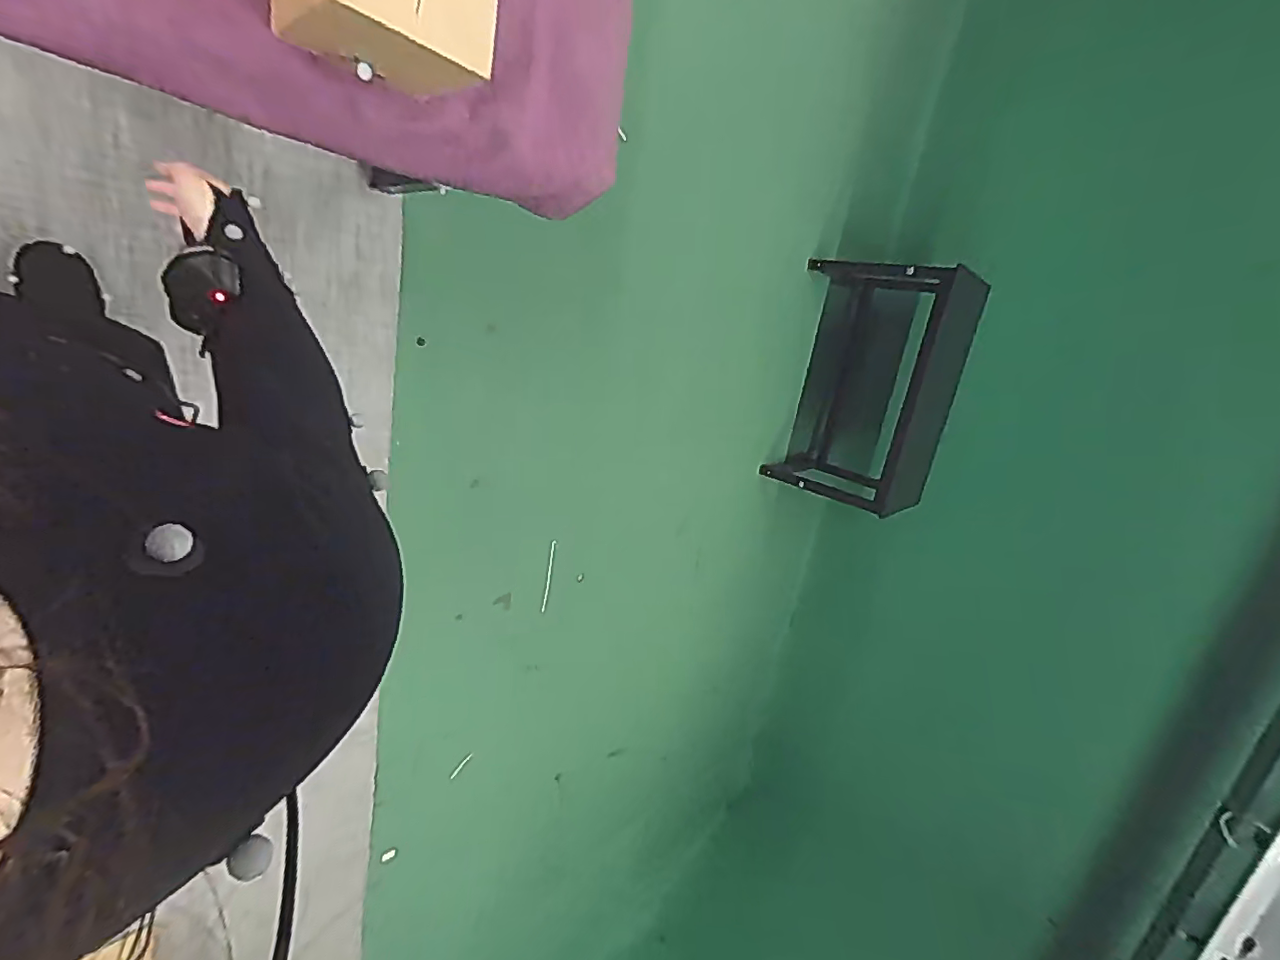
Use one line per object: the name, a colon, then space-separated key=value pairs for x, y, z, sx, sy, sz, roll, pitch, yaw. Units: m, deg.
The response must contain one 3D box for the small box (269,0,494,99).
small box: x=-0.267 y=-0.534 z=0.560 sx=0.168 sy=0.176 sz=0.179 roll=-7 pitch=113 yaw=-47
